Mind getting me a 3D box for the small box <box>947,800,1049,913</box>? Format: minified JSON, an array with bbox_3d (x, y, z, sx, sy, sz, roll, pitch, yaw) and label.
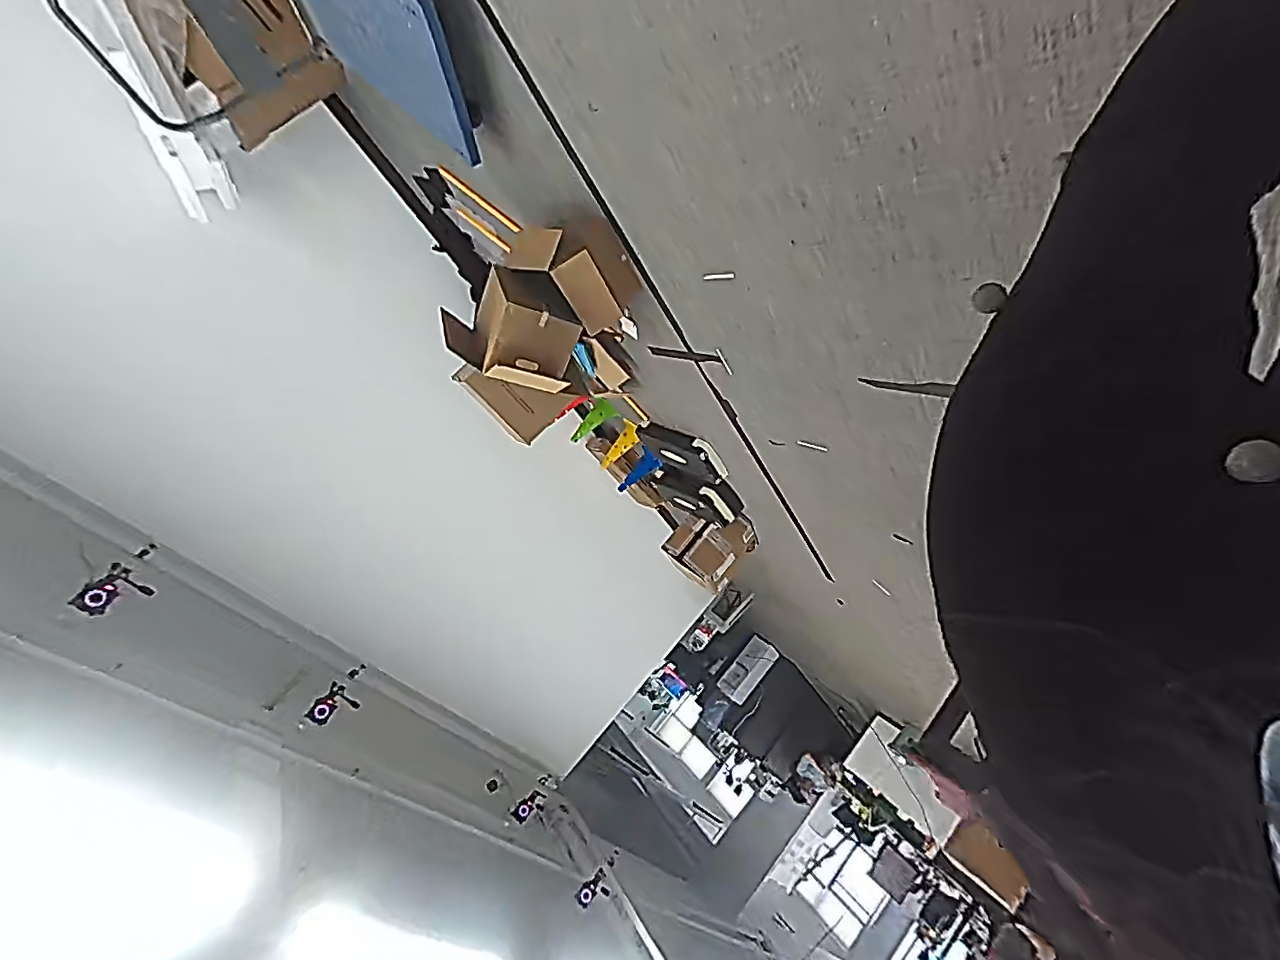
[{"bbox_3d":[0.943,0.984,1.420,0.168,0.176,0.179,27,162,50],"label":"small box"}]
